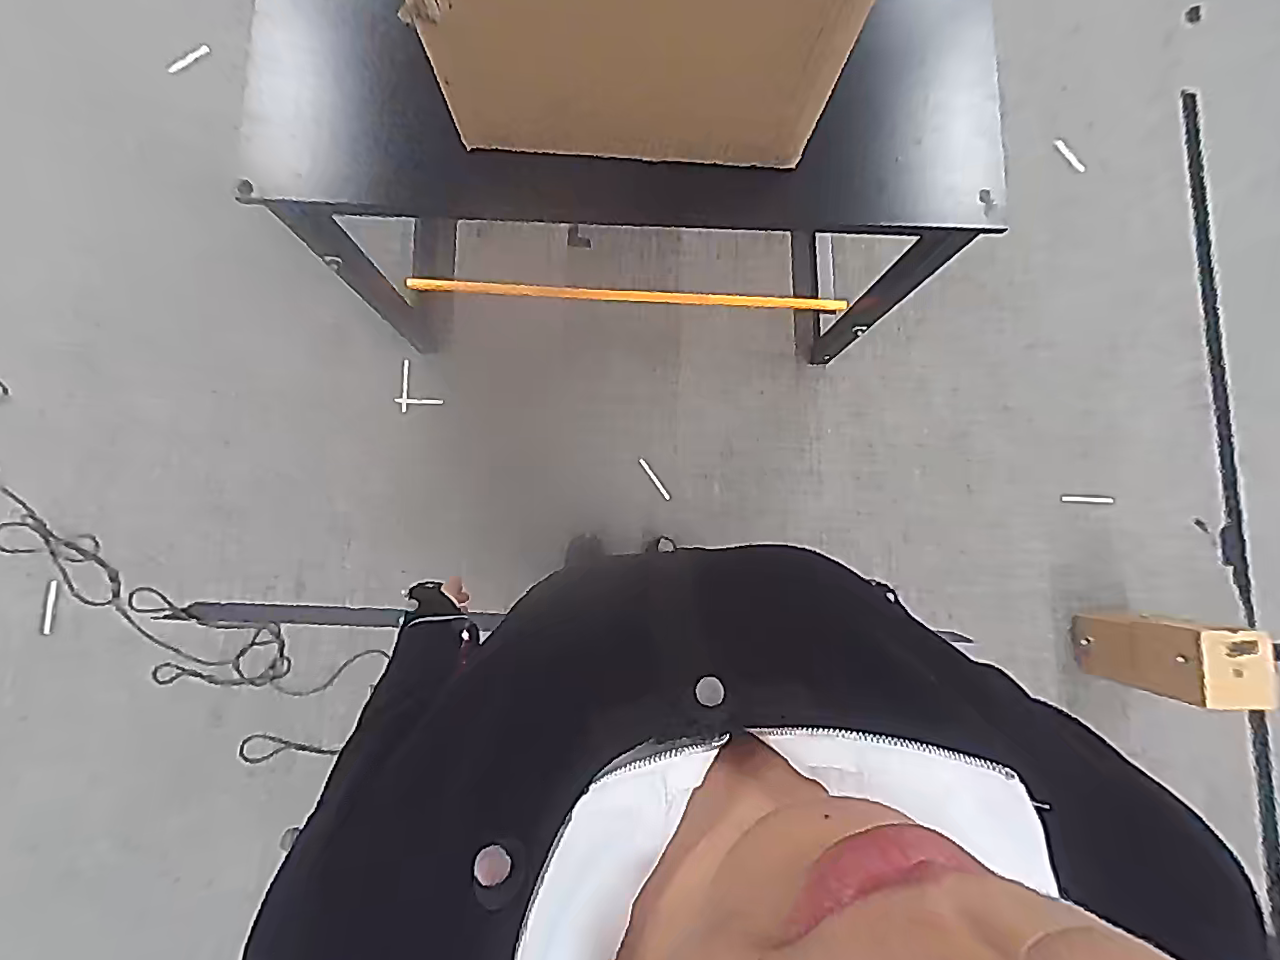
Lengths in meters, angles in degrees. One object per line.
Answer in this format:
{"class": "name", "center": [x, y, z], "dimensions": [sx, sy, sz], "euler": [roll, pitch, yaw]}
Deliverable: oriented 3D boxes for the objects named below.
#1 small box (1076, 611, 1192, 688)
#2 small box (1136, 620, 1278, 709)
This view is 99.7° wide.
{"class": "small box", "center": [1.331, 0.449, 1.454], "dimensions": [0.179, 0.176, 0.168], "euler": [-4, 83, -1]}
{"class": "small box", "center": [1.339, 0.431, 1.290], "dimensions": [0.168, 0.176, 0.179], "euler": [1, 84, -2]}
